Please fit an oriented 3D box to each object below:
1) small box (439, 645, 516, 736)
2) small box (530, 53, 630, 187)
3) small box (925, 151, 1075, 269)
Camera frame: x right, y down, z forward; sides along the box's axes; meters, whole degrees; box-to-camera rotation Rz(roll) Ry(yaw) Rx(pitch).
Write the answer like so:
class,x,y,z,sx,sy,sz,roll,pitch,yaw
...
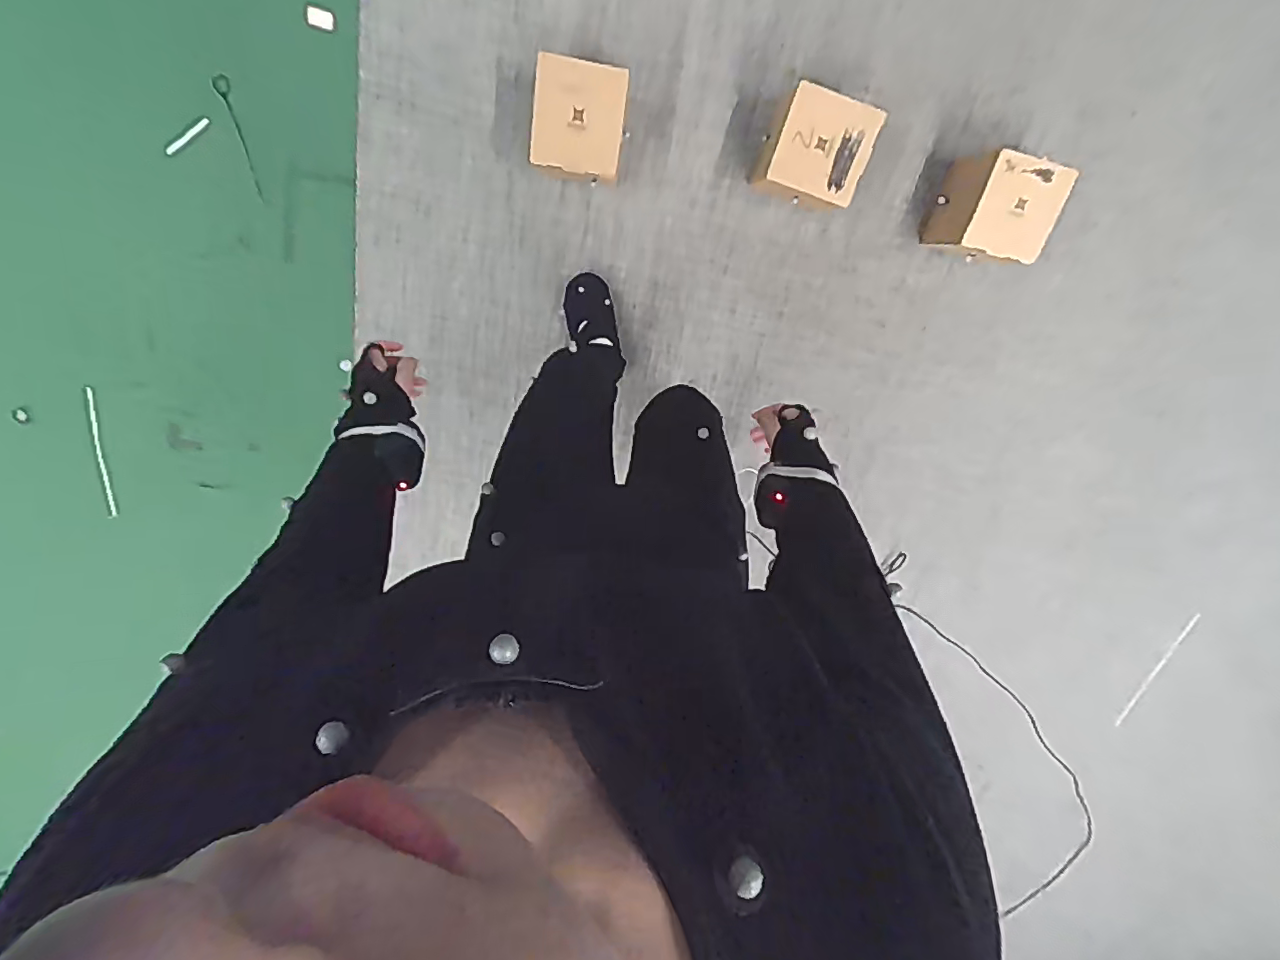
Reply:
class,x,y,z,sx,sy,sz,roll,pitch,yaw
small box,-0.488,0.635,1.646,0.168,0.176,0.179,19,113,-9
small box,-0.112,-0.690,1.061,0.168,0.176,0.179,9,113,-5
small box,0.732,-0.556,1.128,0.168,0.176,0.179,13,114,-7
